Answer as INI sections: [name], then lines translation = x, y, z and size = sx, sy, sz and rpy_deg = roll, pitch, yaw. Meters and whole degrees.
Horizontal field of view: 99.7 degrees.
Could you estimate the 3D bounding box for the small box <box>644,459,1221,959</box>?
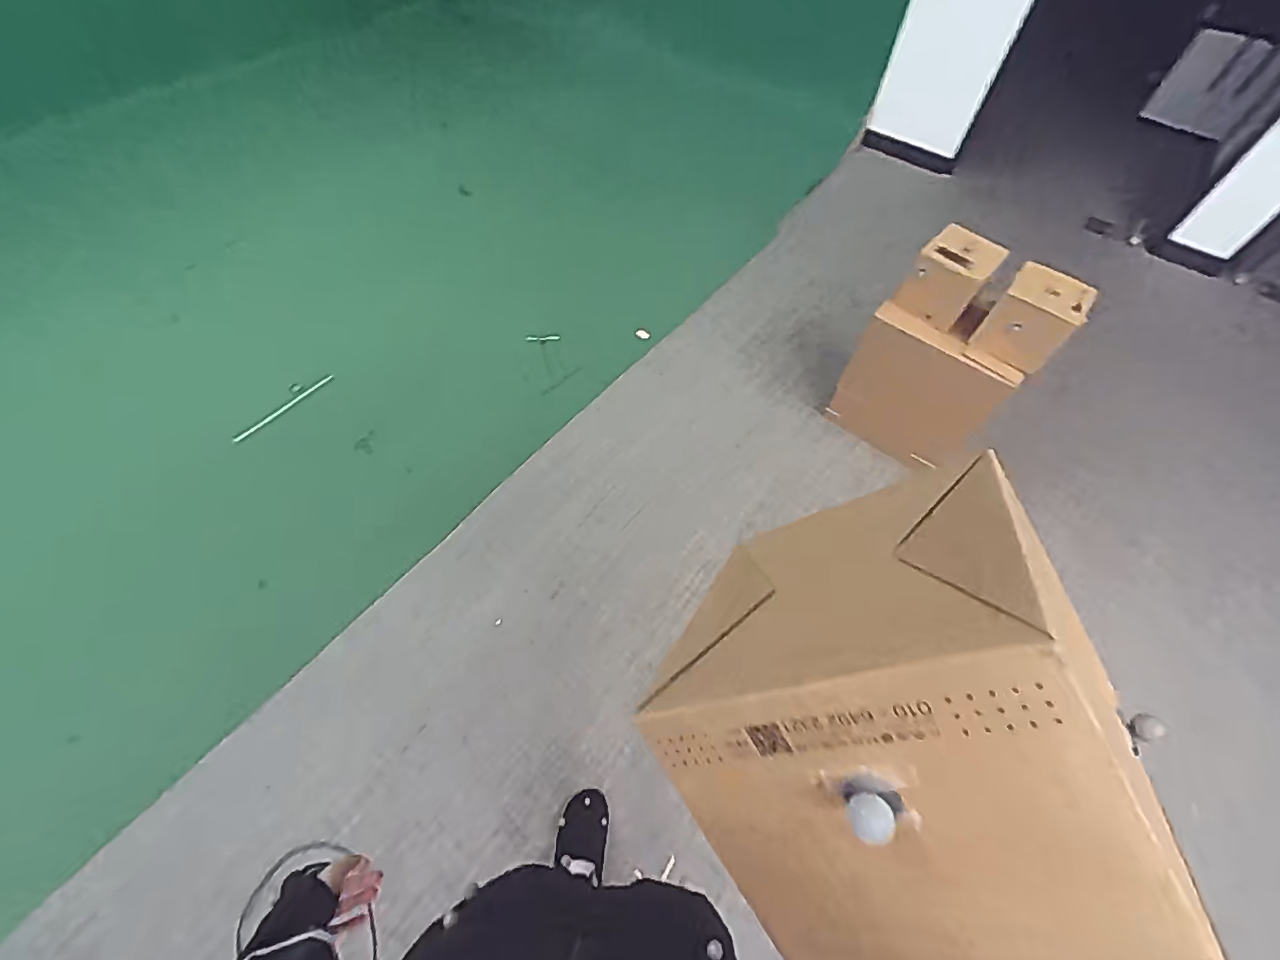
[small box]
translation = 0.133, 0.109, 0.281
size = 0.176, 0.168, 0.179
rpy_deg = 59, 34, -5
